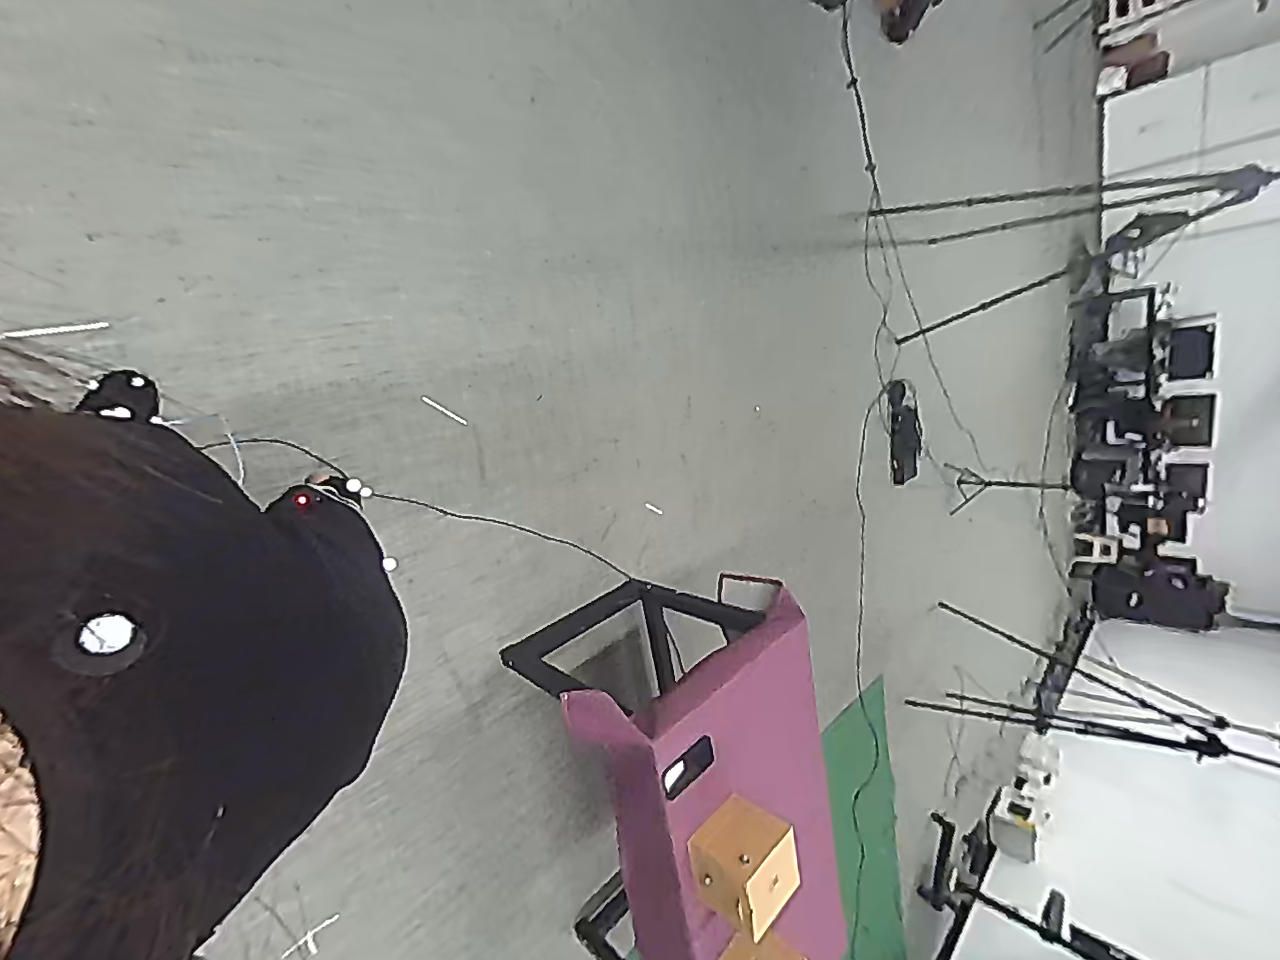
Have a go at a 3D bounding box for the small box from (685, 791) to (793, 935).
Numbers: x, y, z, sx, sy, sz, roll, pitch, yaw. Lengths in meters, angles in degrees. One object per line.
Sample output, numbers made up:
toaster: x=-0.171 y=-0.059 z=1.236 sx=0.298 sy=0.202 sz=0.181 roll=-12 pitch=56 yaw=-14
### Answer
small box: x=0.230 y=0.873 z=1.255 sx=0.179 sy=0.176 sz=0.168 roll=-21 pitch=108 yaw=-39
